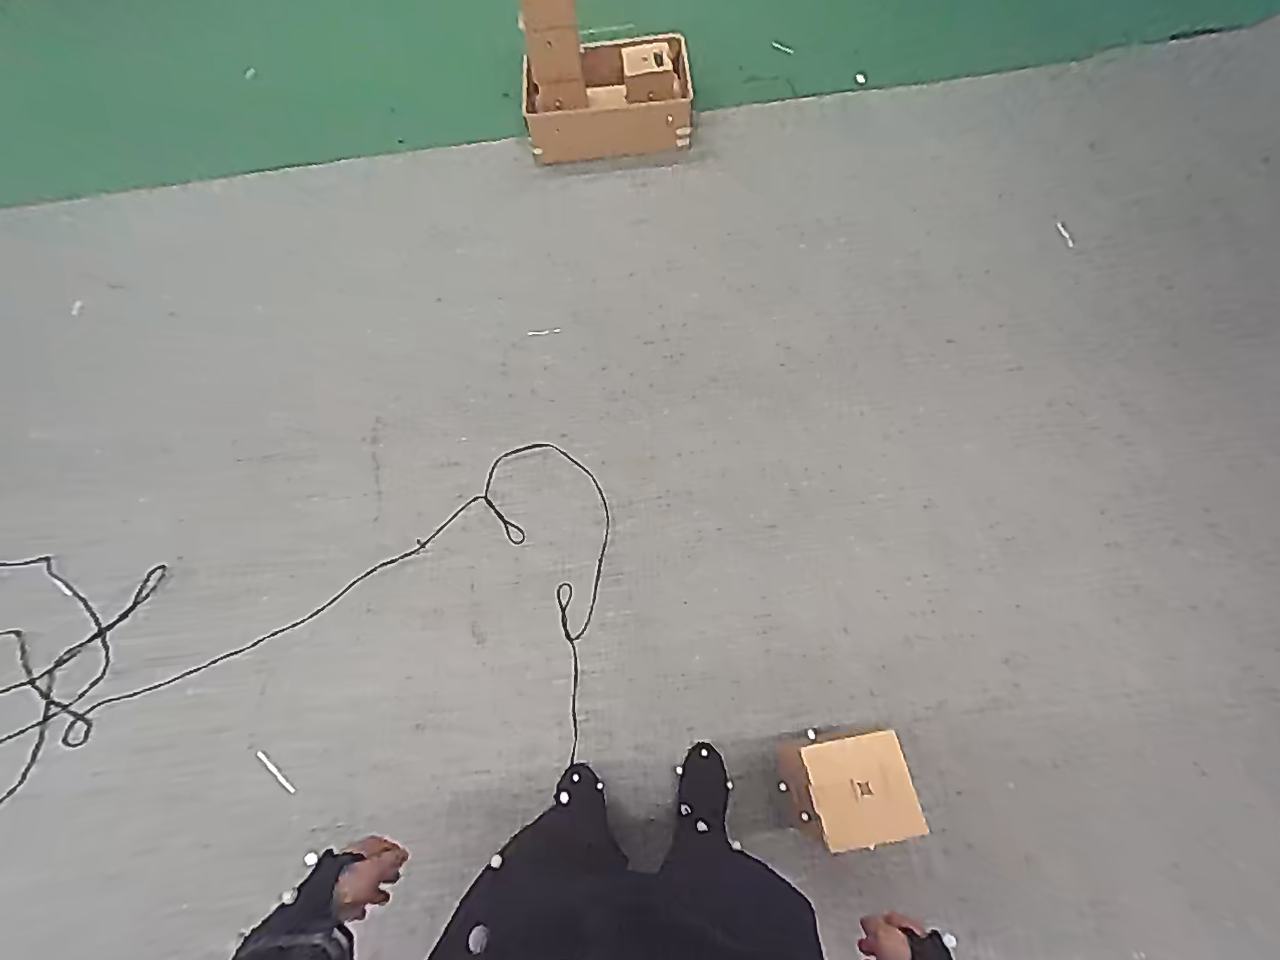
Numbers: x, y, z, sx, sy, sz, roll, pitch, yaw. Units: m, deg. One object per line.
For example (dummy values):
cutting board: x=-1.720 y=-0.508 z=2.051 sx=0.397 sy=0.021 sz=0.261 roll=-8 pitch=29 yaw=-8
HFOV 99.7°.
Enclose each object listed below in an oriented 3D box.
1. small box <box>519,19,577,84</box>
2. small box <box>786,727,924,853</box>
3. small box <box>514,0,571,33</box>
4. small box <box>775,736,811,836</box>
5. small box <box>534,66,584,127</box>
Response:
small box: x=-0.322 y=-1.537 z=1.910 sx=0.179 sy=0.176 sz=0.168 roll=-5 pitch=68 yaw=0
small box: x=0.385 y=0.570 z=1.013 sx=0.179 sy=0.176 sz=0.168 roll=-11 pitch=68 yaw=-3
small box: x=-0.320 y=-1.600 z=1.757 sx=0.179 sy=0.176 sz=0.168 roll=-6 pitch=67 yaw=1
small box: x=0.397 y=0.643 z=1.158 sx=0.179 sy=0.176 sz=0.168 roll=-9 pitch=67 yaw=0
small box: x=-0.308 y=-1.483 z=2.065 sx=0.168 sy=0.176 sz=0.179 roll=-6 pitch=67 yaw=1
